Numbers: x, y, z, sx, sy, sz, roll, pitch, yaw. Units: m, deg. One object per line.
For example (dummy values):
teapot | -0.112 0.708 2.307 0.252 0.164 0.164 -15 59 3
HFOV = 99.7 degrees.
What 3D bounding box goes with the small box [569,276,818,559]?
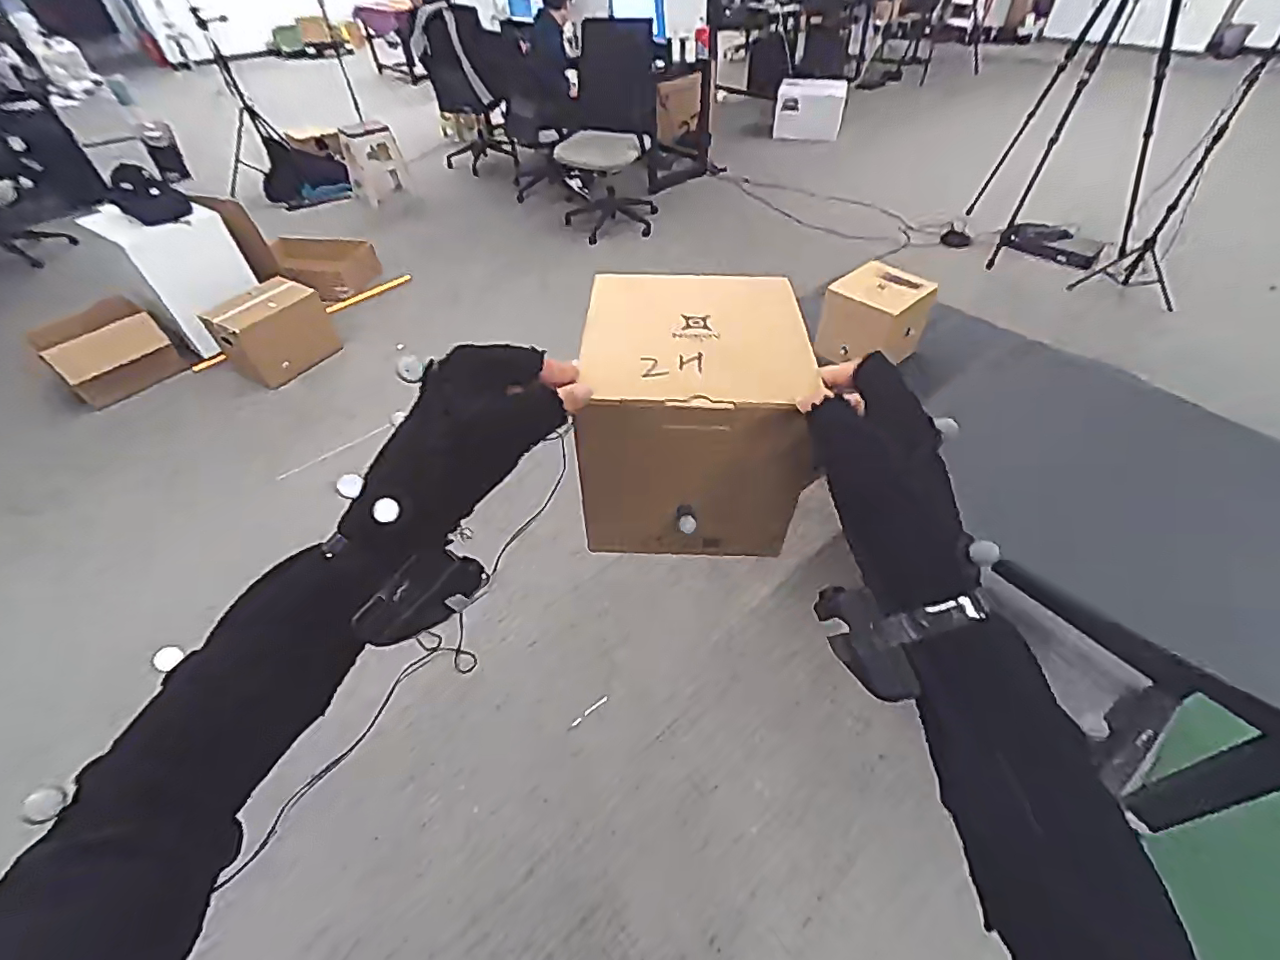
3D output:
small box | 0.036 -0.054 0.465 0.168 0.176 0.179 1 47 1
